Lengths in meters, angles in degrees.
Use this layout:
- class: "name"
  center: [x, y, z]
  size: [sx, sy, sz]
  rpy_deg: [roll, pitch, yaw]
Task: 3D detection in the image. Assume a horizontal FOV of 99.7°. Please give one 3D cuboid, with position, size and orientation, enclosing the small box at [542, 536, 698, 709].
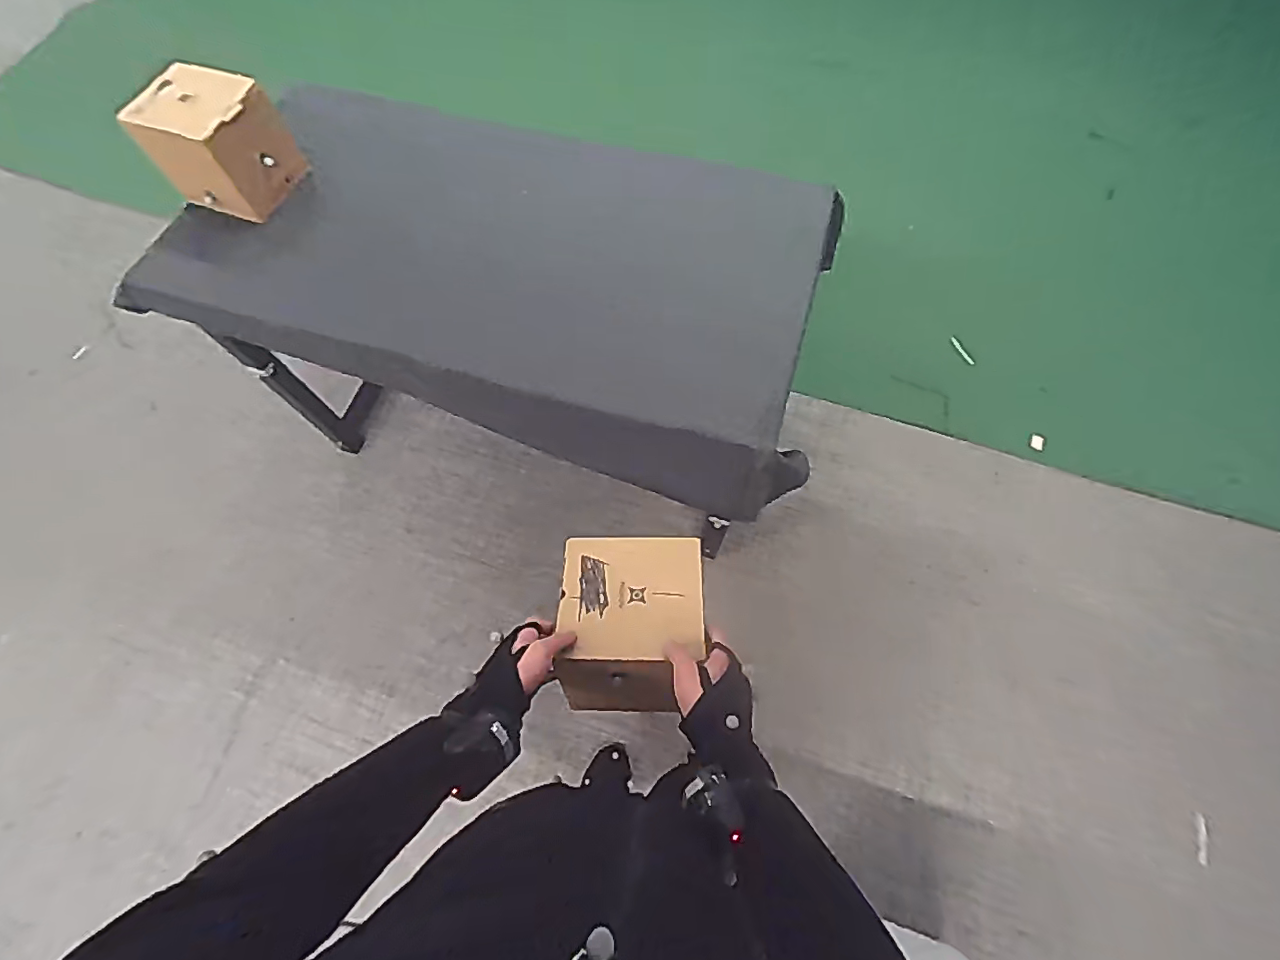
- class: "small box"
  center: [-0.015, 0.187, 0.701]
  size: [0.179, 0.176, 0.168]
  rpy_deg: [-1, 49, 3]

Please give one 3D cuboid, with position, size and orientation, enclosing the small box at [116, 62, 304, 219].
- class: "small box"
  center: [-0.776, -0.619, 1.002]
  size: [0.179, 0.176, 0.168]
  rpy_deg: [18, 68, 7]
